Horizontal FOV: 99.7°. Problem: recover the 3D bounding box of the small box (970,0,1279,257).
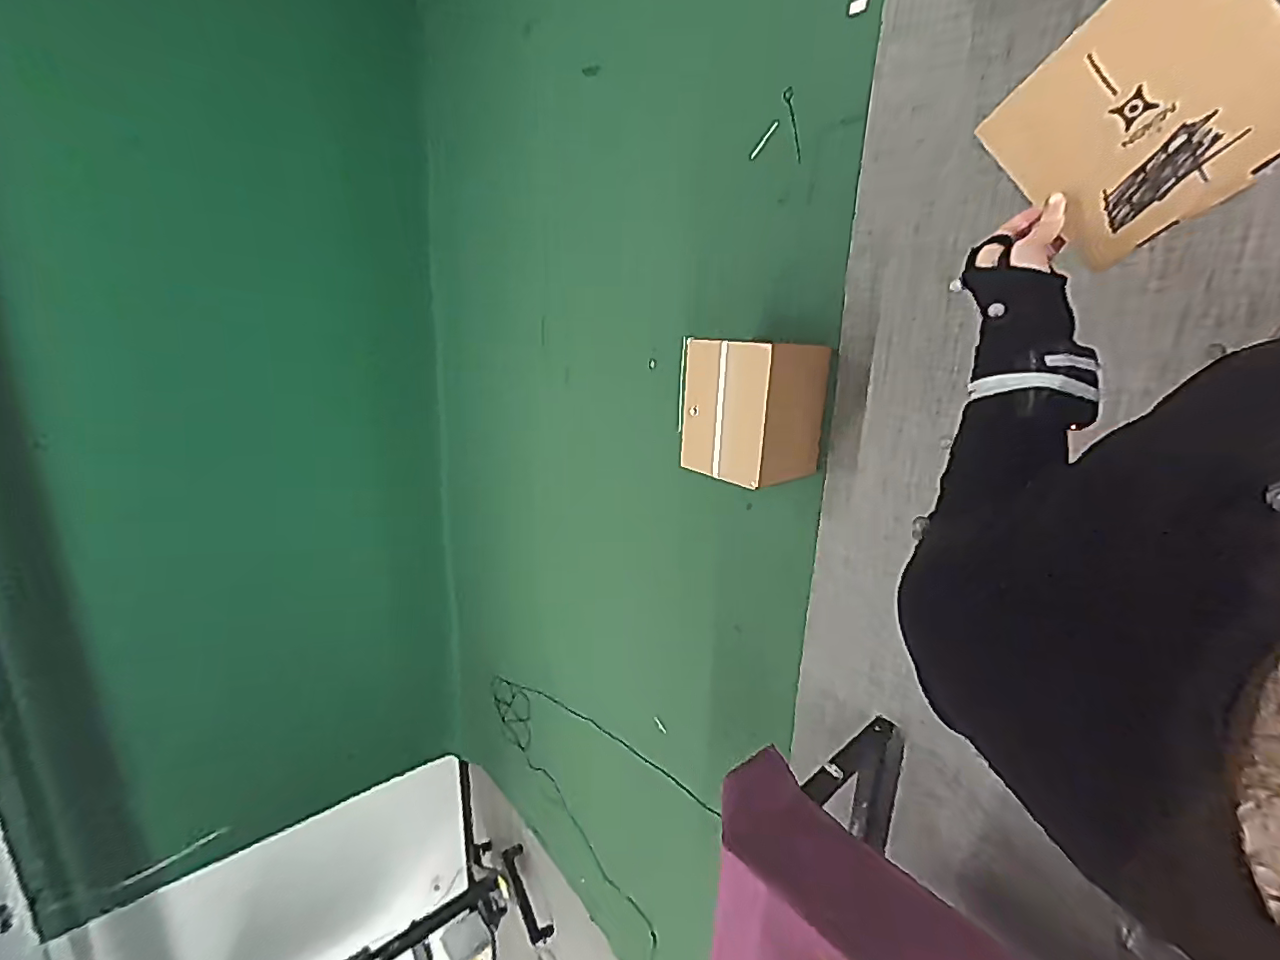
[{"bbox_3d":[0.446,-0.338,0.487,0.179,0.176,0.168,53,139,4],"label":"small box"}]
